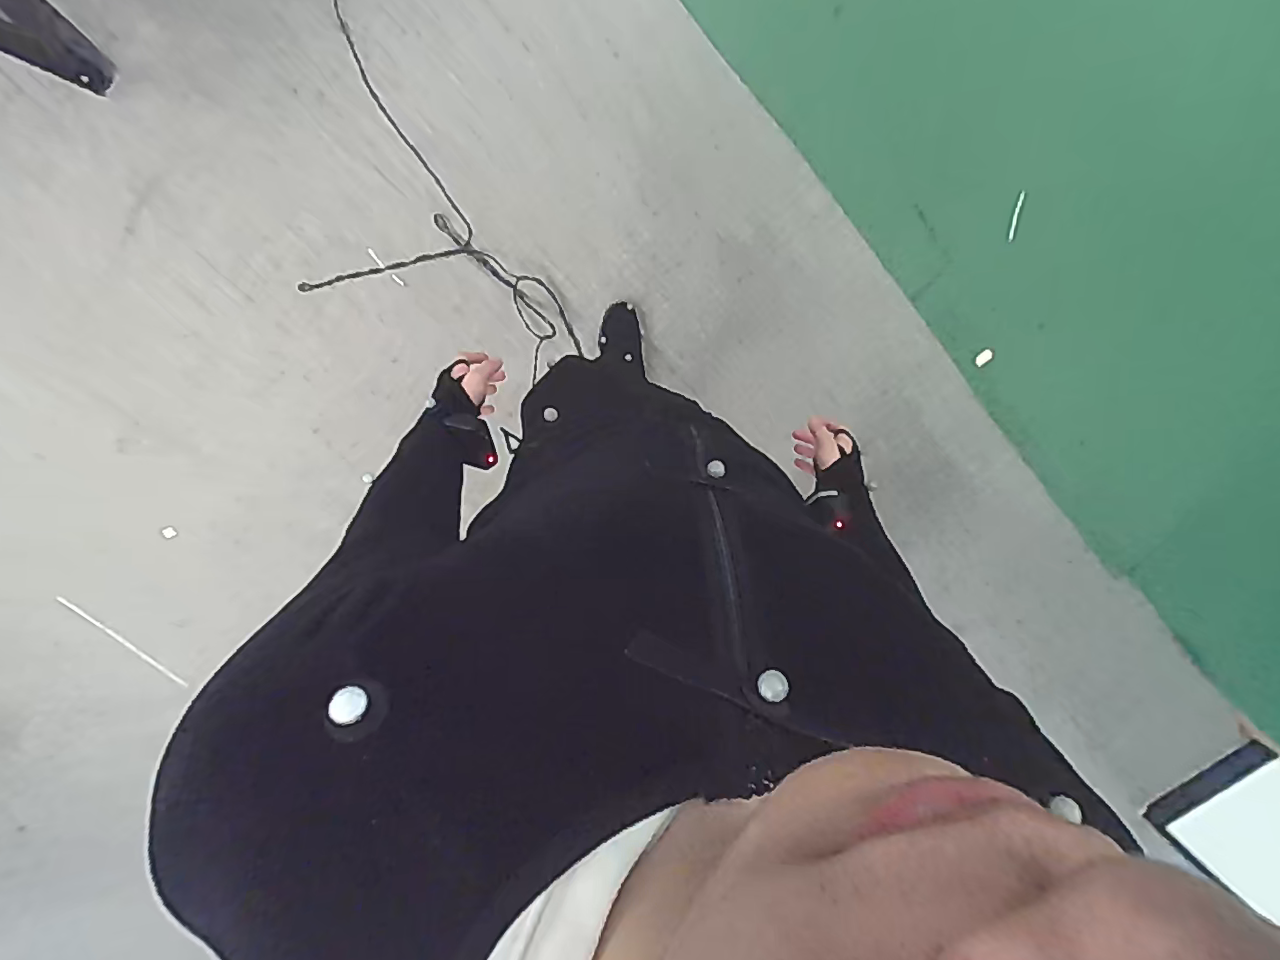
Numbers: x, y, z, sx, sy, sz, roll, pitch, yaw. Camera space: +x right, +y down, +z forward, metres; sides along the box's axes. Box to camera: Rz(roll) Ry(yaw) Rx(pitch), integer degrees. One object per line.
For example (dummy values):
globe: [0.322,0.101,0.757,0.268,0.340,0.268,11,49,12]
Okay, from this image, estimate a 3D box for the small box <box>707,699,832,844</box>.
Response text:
small box: [0.253,0.580,1.106,0.168,0.176,0.179,-35,103,9]
